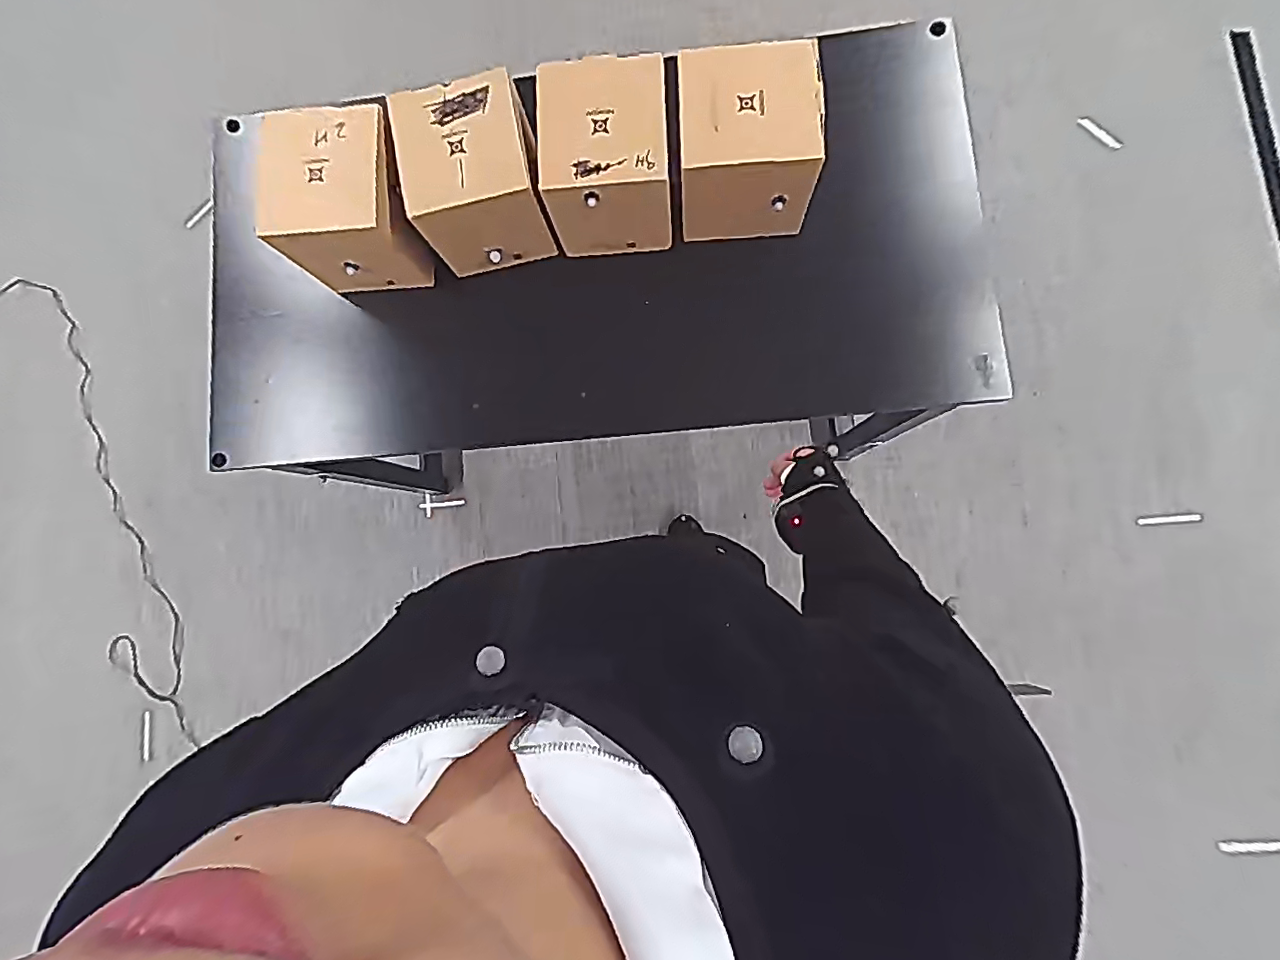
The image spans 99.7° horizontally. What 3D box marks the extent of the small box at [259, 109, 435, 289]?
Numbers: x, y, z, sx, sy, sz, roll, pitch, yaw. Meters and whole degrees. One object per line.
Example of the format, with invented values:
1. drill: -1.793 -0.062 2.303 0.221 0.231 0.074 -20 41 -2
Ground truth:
1. small box: -0.413 -0.393 0.789 0.168 0.176 0.179 -2 83 4
